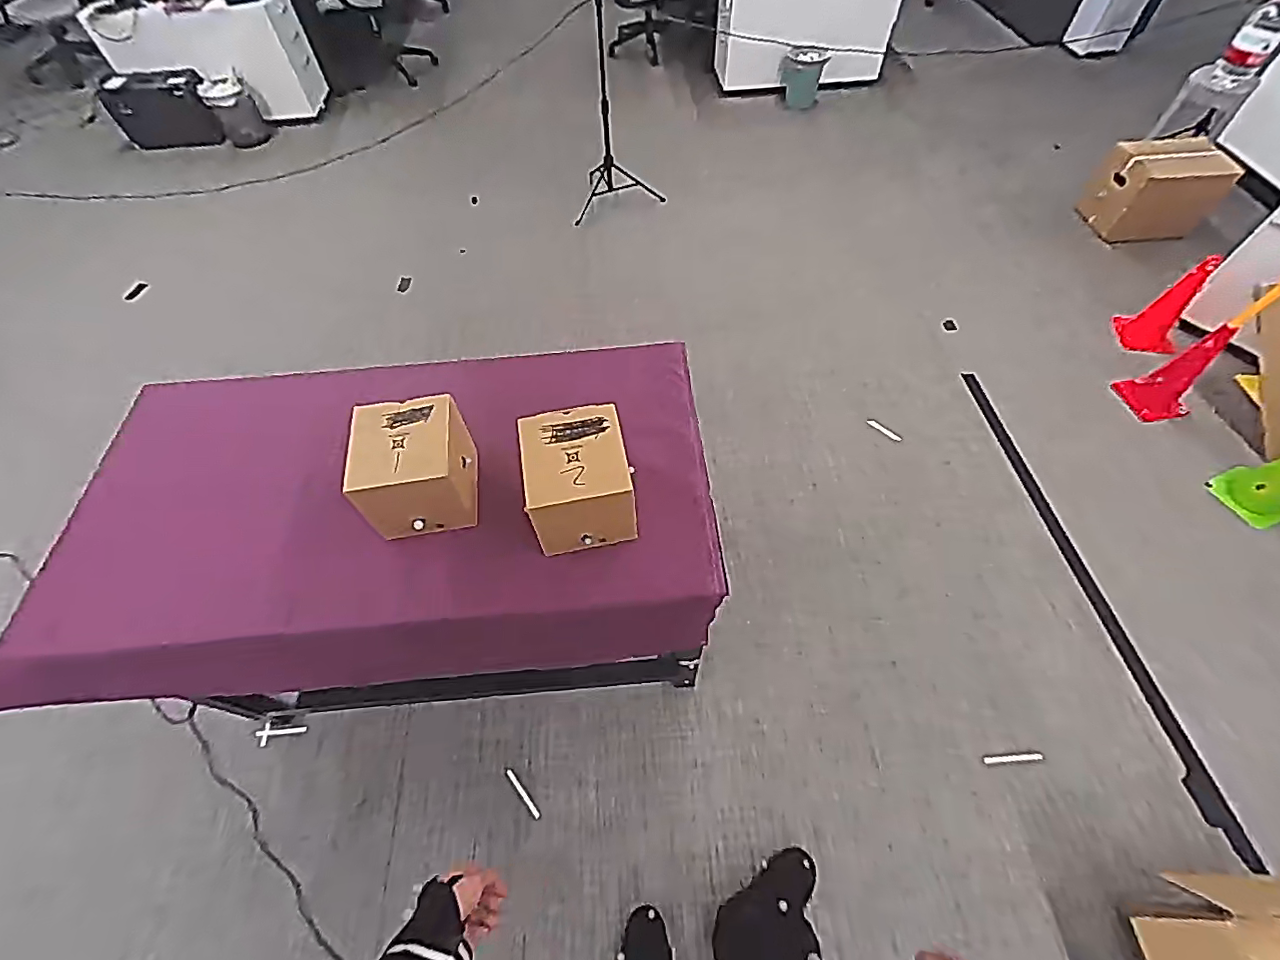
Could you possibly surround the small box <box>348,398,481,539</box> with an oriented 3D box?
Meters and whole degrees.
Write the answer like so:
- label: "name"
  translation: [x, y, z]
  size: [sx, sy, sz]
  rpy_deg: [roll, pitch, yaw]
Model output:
- label: "small box"
  translation: [-0.388, -0.018, 0.964]
  size: [0.168, 0.176, 0.179]
  rpy_deg: [-9, 57, -4]
